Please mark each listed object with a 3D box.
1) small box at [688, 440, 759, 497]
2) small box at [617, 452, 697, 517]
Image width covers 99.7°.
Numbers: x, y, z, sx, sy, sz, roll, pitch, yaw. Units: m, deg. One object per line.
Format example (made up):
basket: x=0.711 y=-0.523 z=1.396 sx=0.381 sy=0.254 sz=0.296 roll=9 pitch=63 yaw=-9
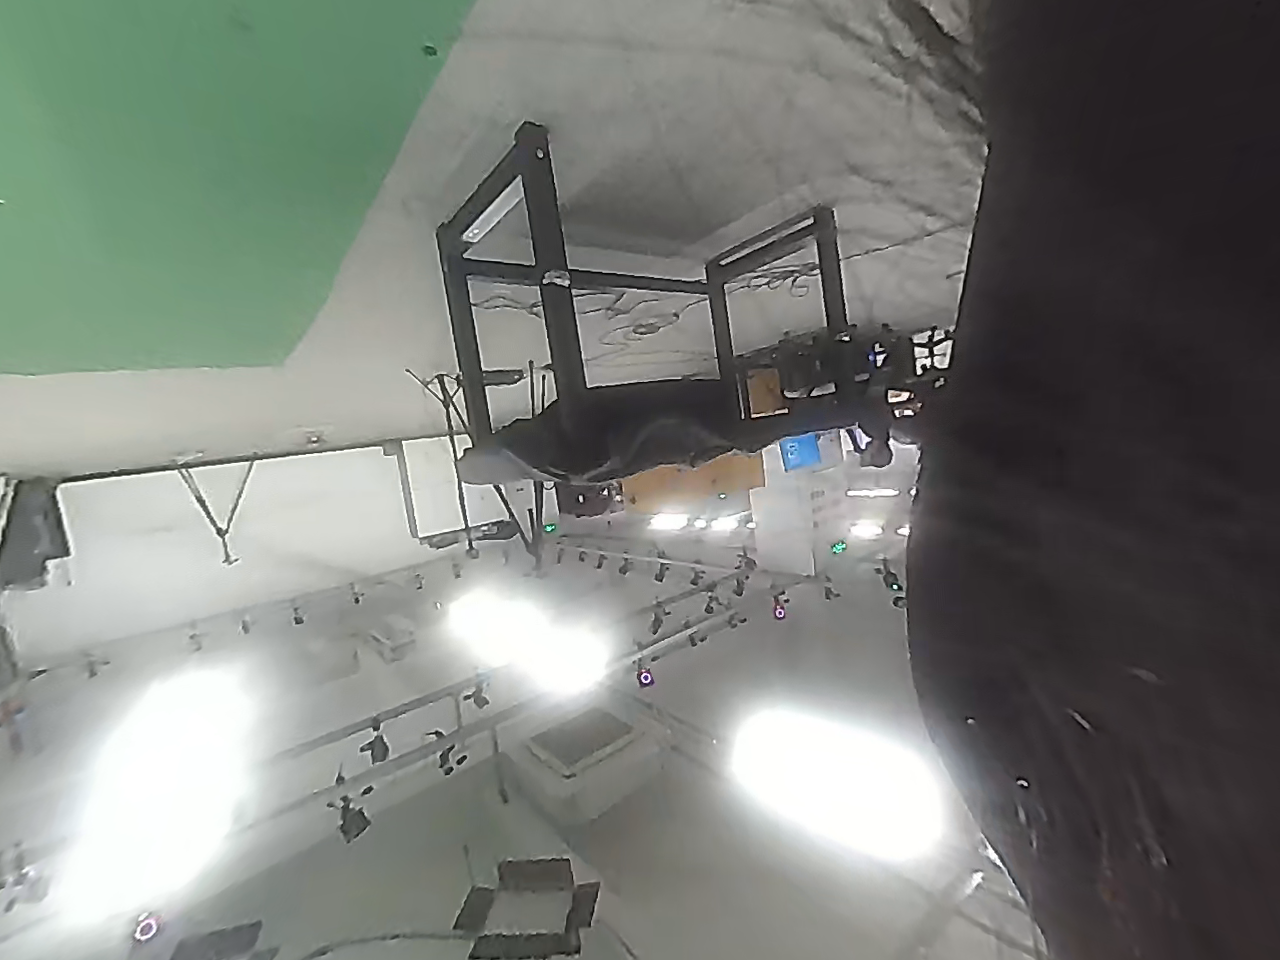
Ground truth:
small box: x=0.271 y=-0.040 z=1.792 sx=0.168 sy=0.176 sz=0.179 roll=-12 pitch=-175 yaw=-40
small box: x=0.047 y=0.010 z=1.602 sx=0.168 sy=0.176 sz=0.179 roll=-13 pitch=-174 yaw=-41
